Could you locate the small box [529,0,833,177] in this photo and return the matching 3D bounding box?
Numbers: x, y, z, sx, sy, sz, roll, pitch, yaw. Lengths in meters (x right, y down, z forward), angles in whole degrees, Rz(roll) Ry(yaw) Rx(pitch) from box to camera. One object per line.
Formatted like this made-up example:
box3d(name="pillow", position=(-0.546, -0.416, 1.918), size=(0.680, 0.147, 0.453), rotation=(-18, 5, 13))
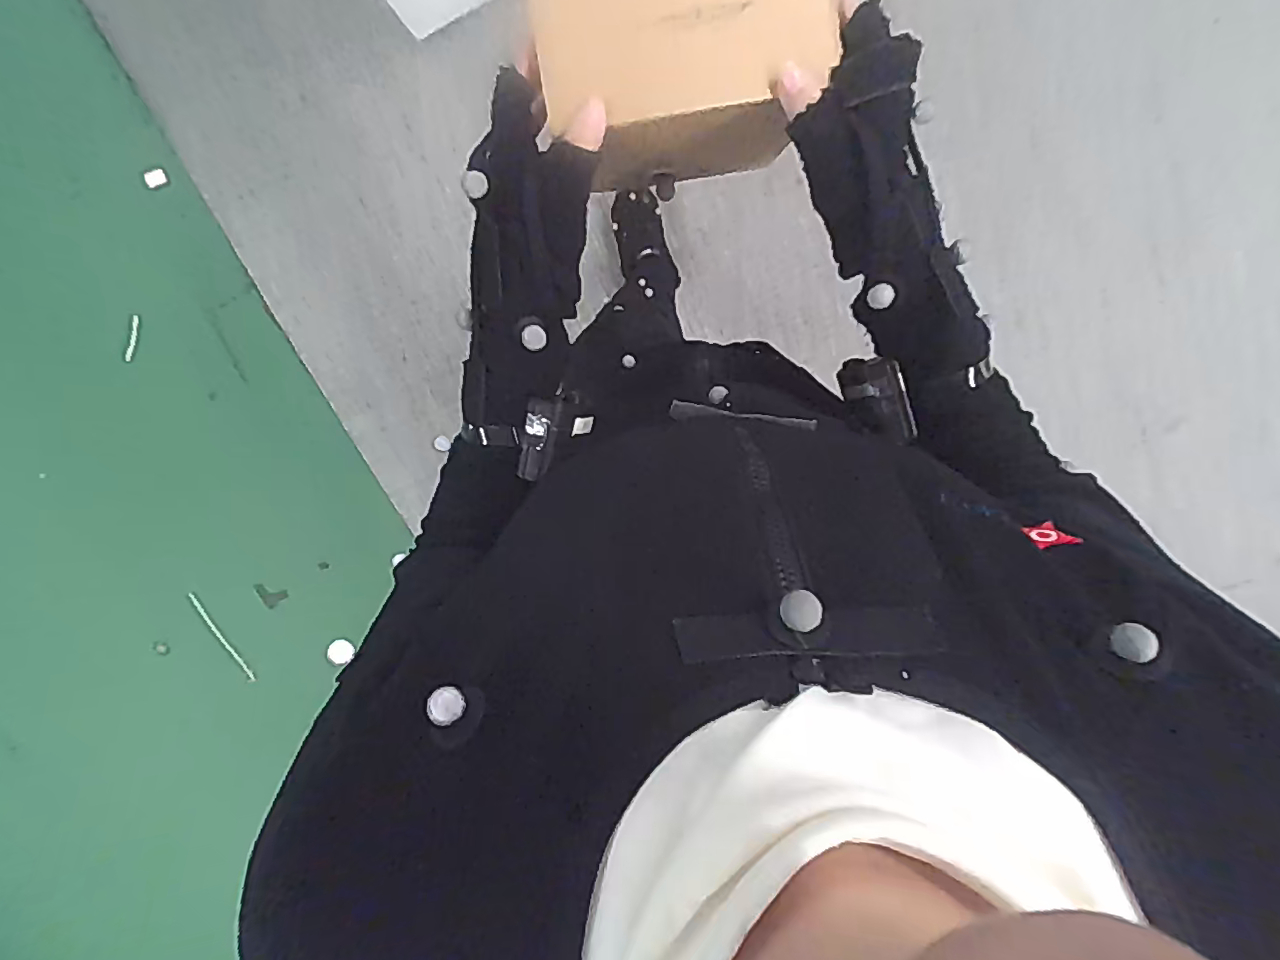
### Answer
box3d(name="small box", position=(0.015, -0.323, 0.354), size=(0.168, 0.176, 0.179), rotation=(-7, 108, 2))
